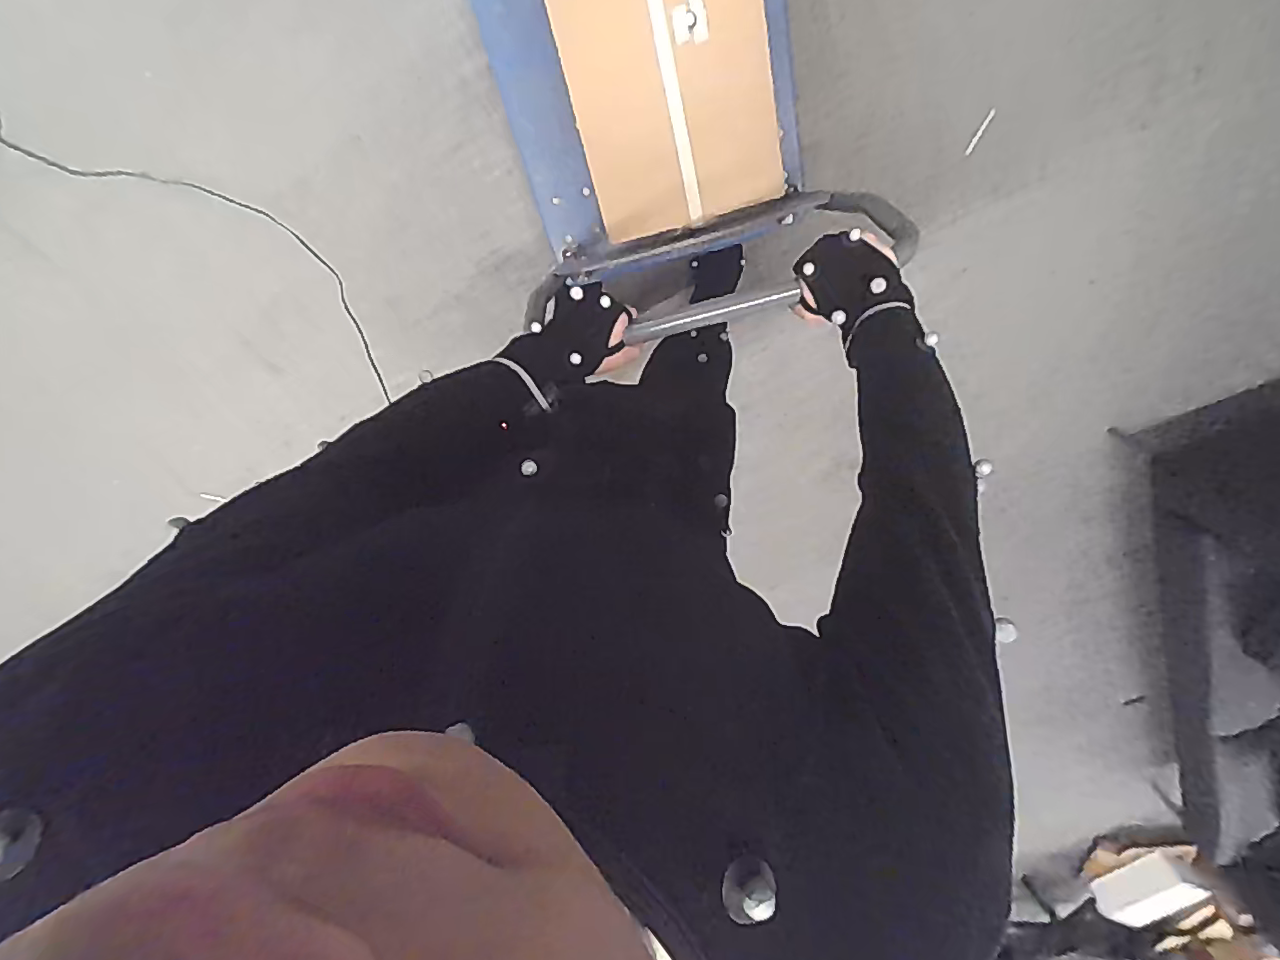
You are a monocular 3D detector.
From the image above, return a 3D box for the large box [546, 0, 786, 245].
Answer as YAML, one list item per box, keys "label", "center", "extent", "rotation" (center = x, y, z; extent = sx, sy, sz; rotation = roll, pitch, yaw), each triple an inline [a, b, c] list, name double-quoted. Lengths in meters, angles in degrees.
- label: "large box"
  center: [0.053, -0.687, 0.978]
  extent: [0.320, 0.320, 0.408]
  rotation: [-13, 118, 7]
